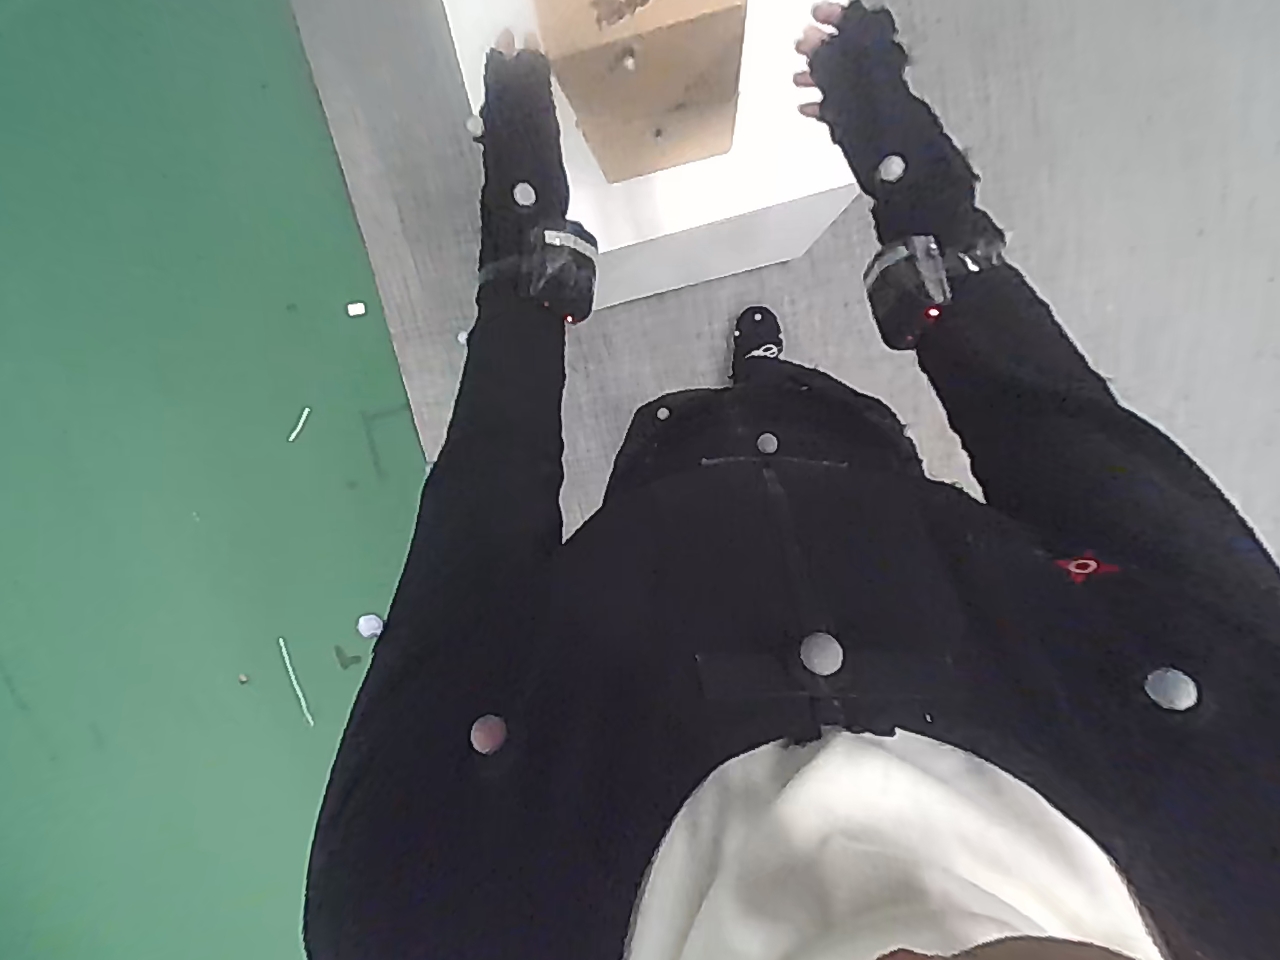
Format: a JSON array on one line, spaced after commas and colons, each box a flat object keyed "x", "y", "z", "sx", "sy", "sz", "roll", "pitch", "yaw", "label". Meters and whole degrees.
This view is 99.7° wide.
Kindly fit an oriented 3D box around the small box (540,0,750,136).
[{"x": -0.004, "y": -0.457, "z": 0.494, "sx": 0.168, "sy": 0.176, "sz": 0.179, "roll": -12, "pitch": 103, "yaw": 8, "label": "small box"}]

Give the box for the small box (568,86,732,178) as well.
[{"x": 0.009, "y": -0.490, "z": 0.650, "sx": 0.179, "sy": 0.176, "sz": 0.168, "roll": -10, "pitch": 102, "yaw": 8, "label": "small box"}]
